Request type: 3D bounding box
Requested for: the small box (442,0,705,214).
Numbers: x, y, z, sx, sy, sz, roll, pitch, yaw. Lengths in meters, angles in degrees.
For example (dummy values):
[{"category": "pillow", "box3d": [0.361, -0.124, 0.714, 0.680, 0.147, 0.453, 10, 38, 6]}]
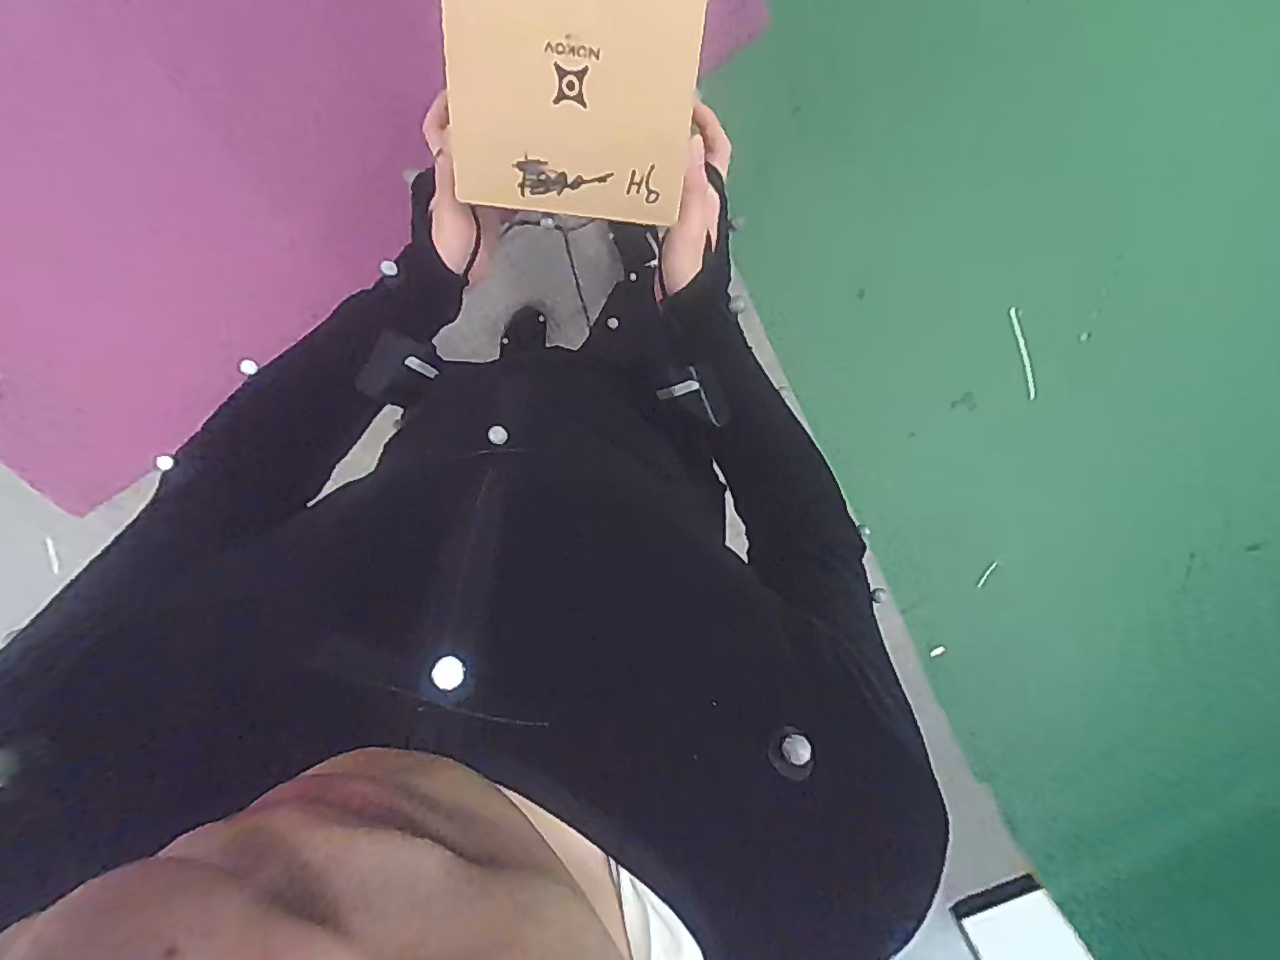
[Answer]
[{"category": "small box", "box3d": [-0.046, -0.319, 0.418, 0.168, 0.176, 0.179, 5, 122, -3]}]
